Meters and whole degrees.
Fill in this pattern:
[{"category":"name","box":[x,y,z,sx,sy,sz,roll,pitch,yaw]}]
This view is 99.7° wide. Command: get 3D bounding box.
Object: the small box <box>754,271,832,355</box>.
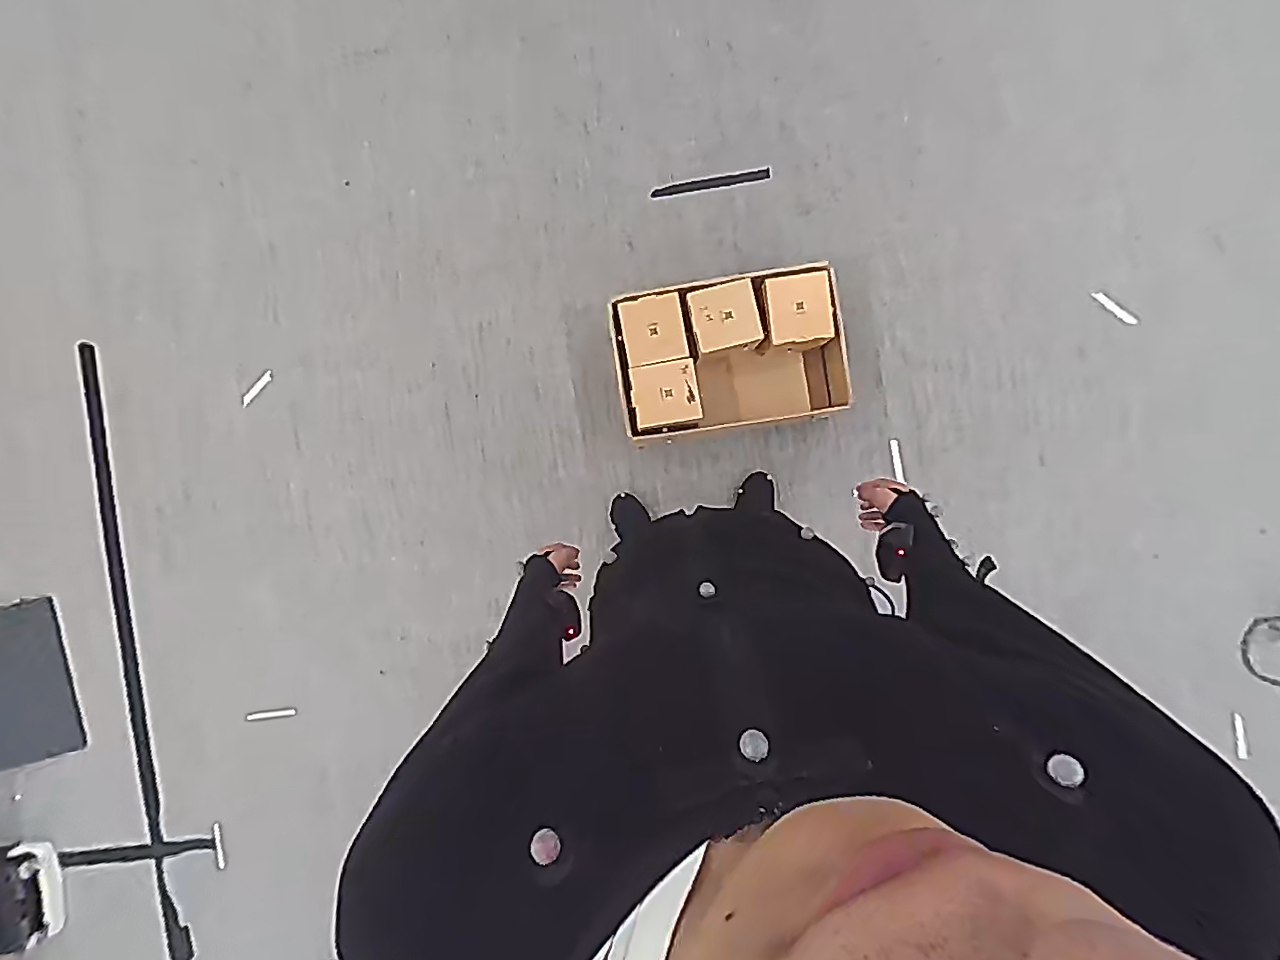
[{"category":"small box","box":[0.418,-0.458,1.502,0.168,0.176,0.179,-8,93,3]}]
